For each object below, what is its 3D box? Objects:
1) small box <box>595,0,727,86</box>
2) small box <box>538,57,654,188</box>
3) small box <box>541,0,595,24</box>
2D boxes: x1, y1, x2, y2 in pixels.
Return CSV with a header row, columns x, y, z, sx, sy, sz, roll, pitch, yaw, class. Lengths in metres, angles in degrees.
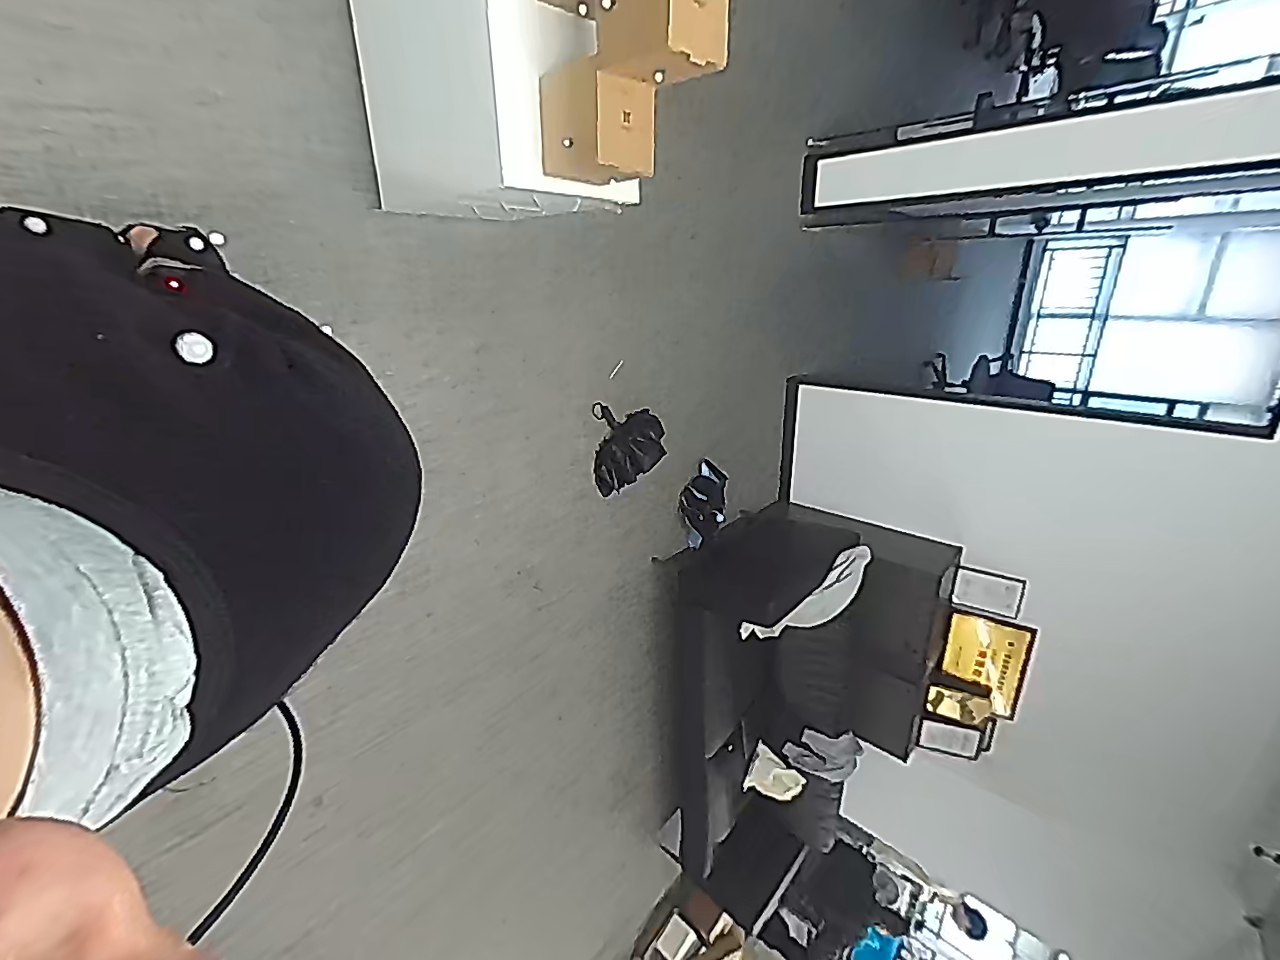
x,y,z,sx,sy,sz,roll,pitch,yaw,class
0.034,-0.812,0.938,0.168,0.176,0.179,-25,122,-43,small box
-0.088,-0.704,1.092,0.168,0.176,0.179,-21,116,-45,small box
-0.087,-0.985,0.991,0.168,0.176,0.179,-24,122,-42,small box
